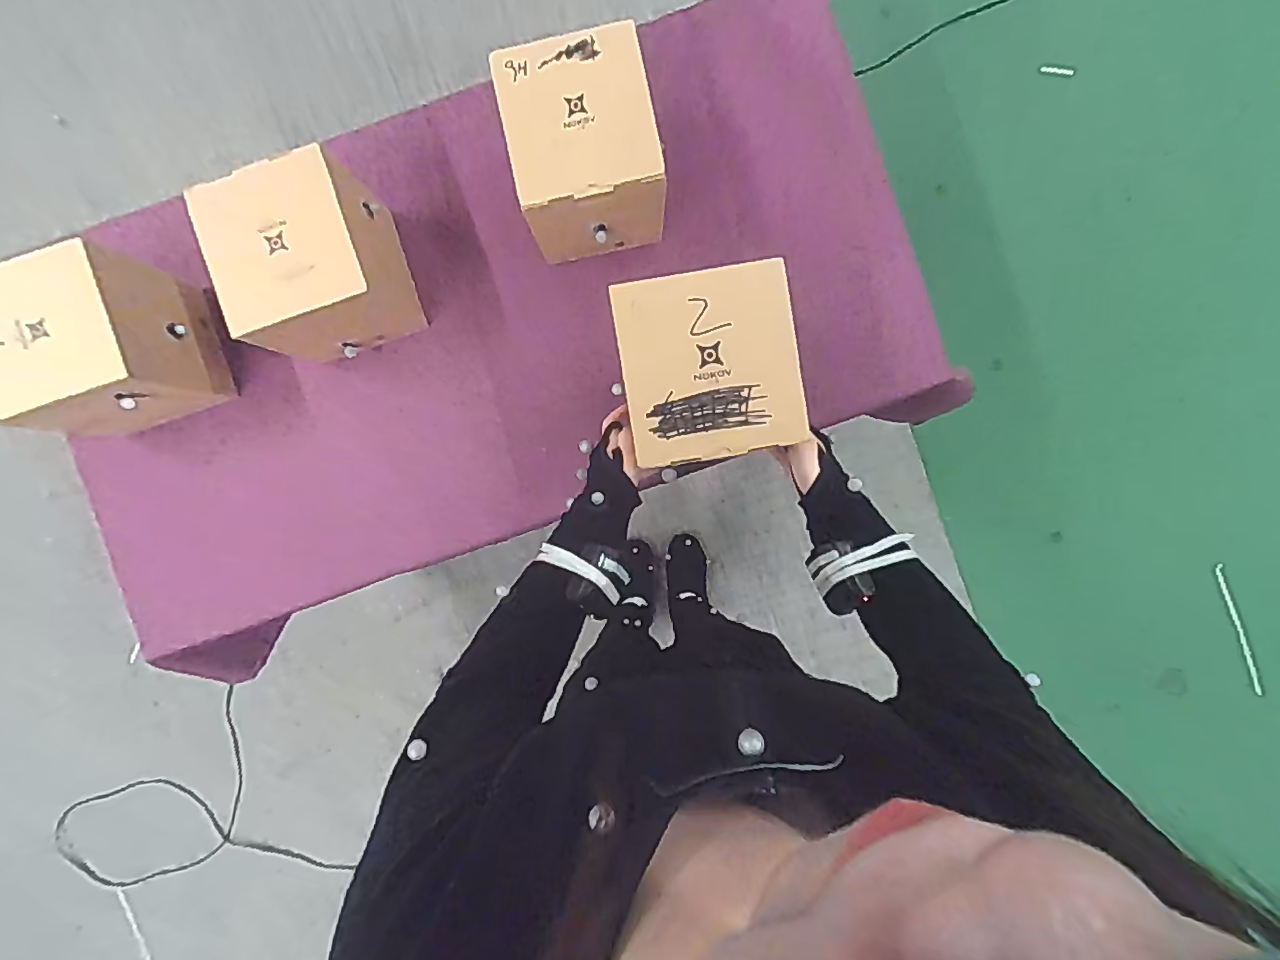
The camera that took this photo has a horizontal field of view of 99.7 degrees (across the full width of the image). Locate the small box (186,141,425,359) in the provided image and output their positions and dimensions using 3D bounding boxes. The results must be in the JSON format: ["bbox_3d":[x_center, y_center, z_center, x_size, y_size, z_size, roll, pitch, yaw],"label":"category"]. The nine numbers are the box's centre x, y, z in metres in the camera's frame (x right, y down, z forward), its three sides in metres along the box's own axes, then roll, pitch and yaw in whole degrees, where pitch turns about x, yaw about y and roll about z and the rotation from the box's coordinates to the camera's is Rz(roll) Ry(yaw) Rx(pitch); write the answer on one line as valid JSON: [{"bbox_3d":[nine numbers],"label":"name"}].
[{"bbox_3d":[-0.403,-0.273,0.682,0.168,0.176,0.179,-18,91,3],"label":"small box"}]

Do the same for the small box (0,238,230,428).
[{"bbox_3d":[-0.672,-0.172,0.689,0.179,0.176,0.168,-18,90,2],"label":"small box"}]

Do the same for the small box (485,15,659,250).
[{"bbox_3d":[-0.071,-0.405,0.669,0.168,0.176,0.179,-12,92,2],"label":"small box"}]
